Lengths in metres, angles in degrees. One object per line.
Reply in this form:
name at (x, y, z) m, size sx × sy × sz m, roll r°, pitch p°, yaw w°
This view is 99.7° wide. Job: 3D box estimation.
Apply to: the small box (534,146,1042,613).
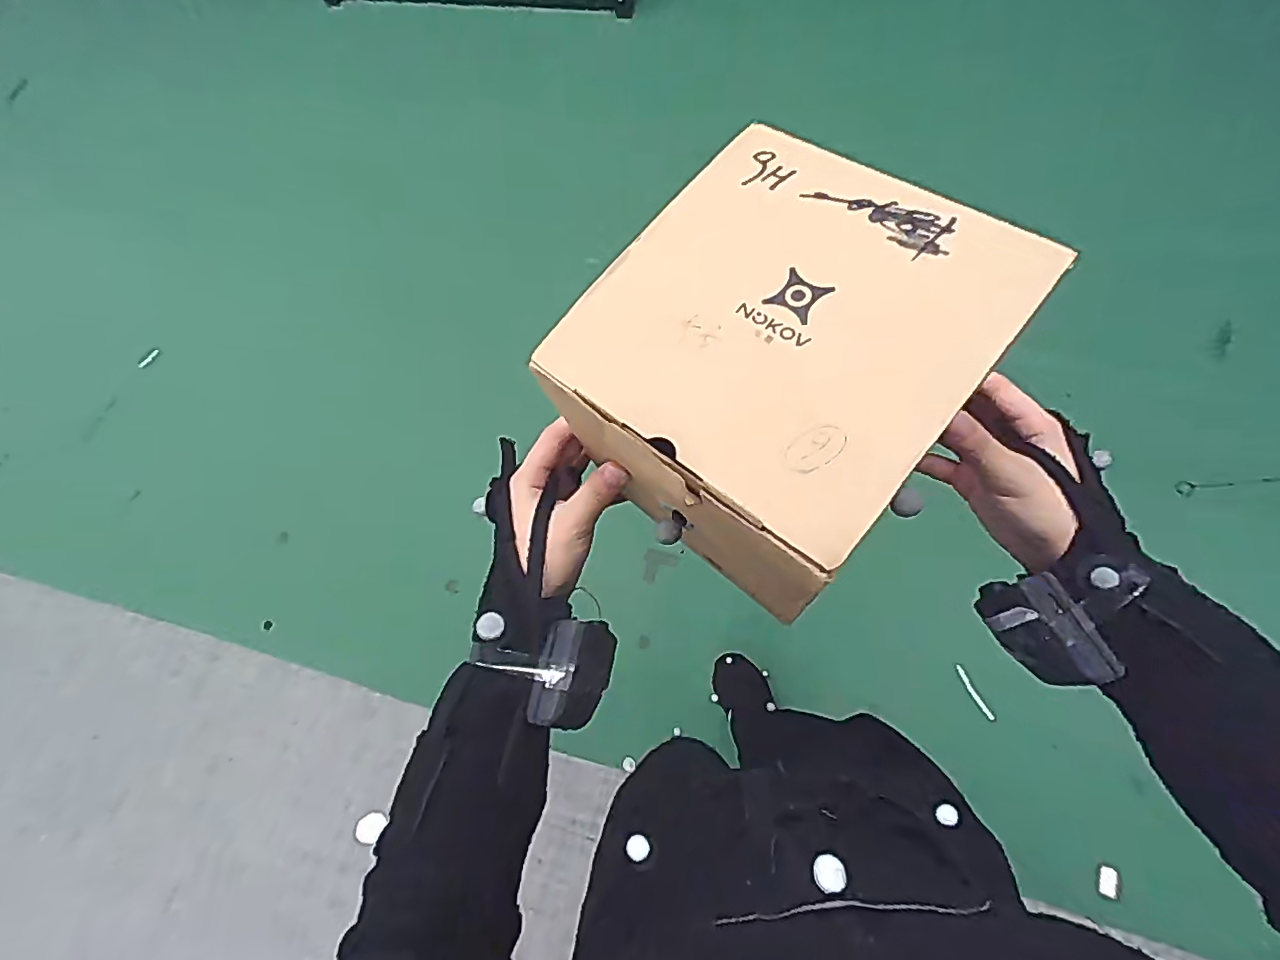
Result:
small box at (0.076, -0.042, 0.322) m, size 0.168 × 0.176 × 0.179 m, roll 37°, pitch 80°, yaw 21°
